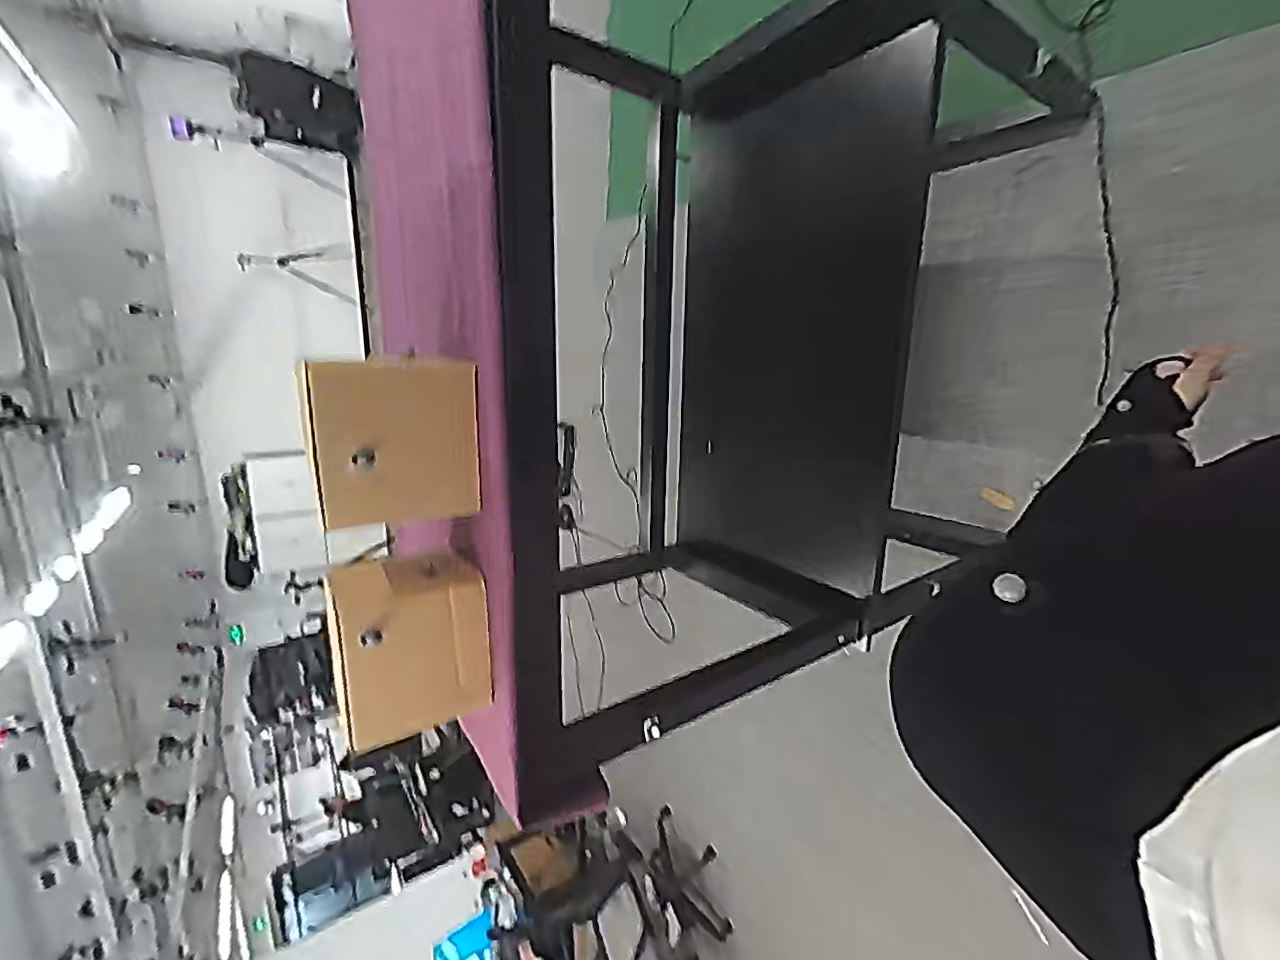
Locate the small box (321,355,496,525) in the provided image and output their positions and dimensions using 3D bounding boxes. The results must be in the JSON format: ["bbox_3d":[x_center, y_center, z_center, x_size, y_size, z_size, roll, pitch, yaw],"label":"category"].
[{"bbox_3d":[-0.284,-0.061,0.669,0.168,0.176,0.179,22,115,53],"label":"small box"}]

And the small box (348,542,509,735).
[{"bbox_3d":[-0.282,0.195,0.725,0.168,0.176,0.179,14,107,55],"label":"small box"}]
